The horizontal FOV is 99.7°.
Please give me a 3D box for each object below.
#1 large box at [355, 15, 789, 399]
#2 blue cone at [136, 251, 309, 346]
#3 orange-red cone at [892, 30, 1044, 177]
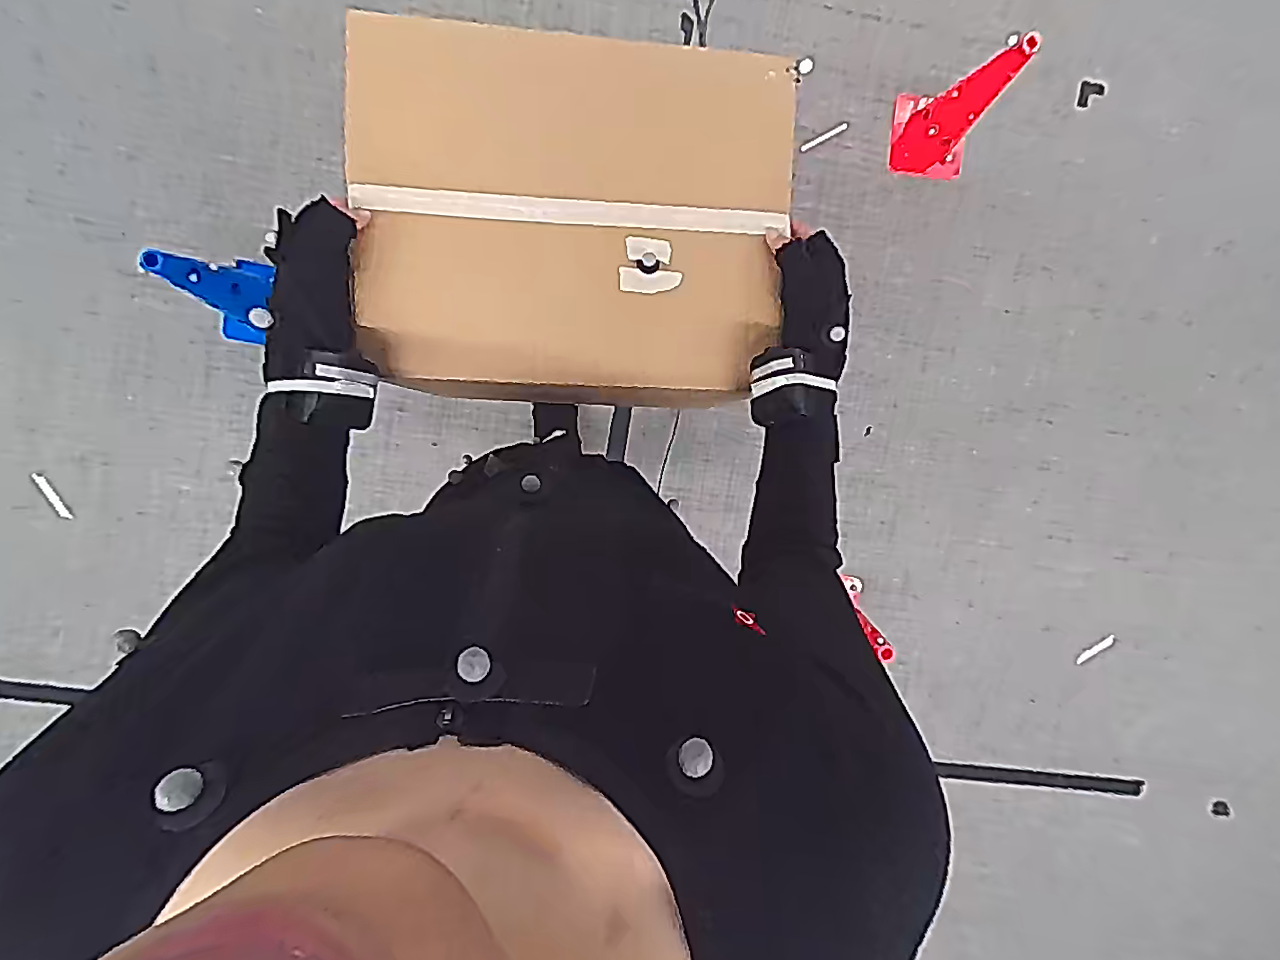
[{"bbox_3d":[-0.074,-0.267,0.653,0.408,0.320,0.320,1,95,-7],"label":"large box"},{"bbox_3d":[-0.936,-0.430,1.208,0.192,0.380,0.193,11,94,-4],"label":"blue cone"},{"bbox_3d":[0.787,-0.909,1.270,0.198,0.360,0.199,6,93,-5],"label":"orange-red cone"}]
